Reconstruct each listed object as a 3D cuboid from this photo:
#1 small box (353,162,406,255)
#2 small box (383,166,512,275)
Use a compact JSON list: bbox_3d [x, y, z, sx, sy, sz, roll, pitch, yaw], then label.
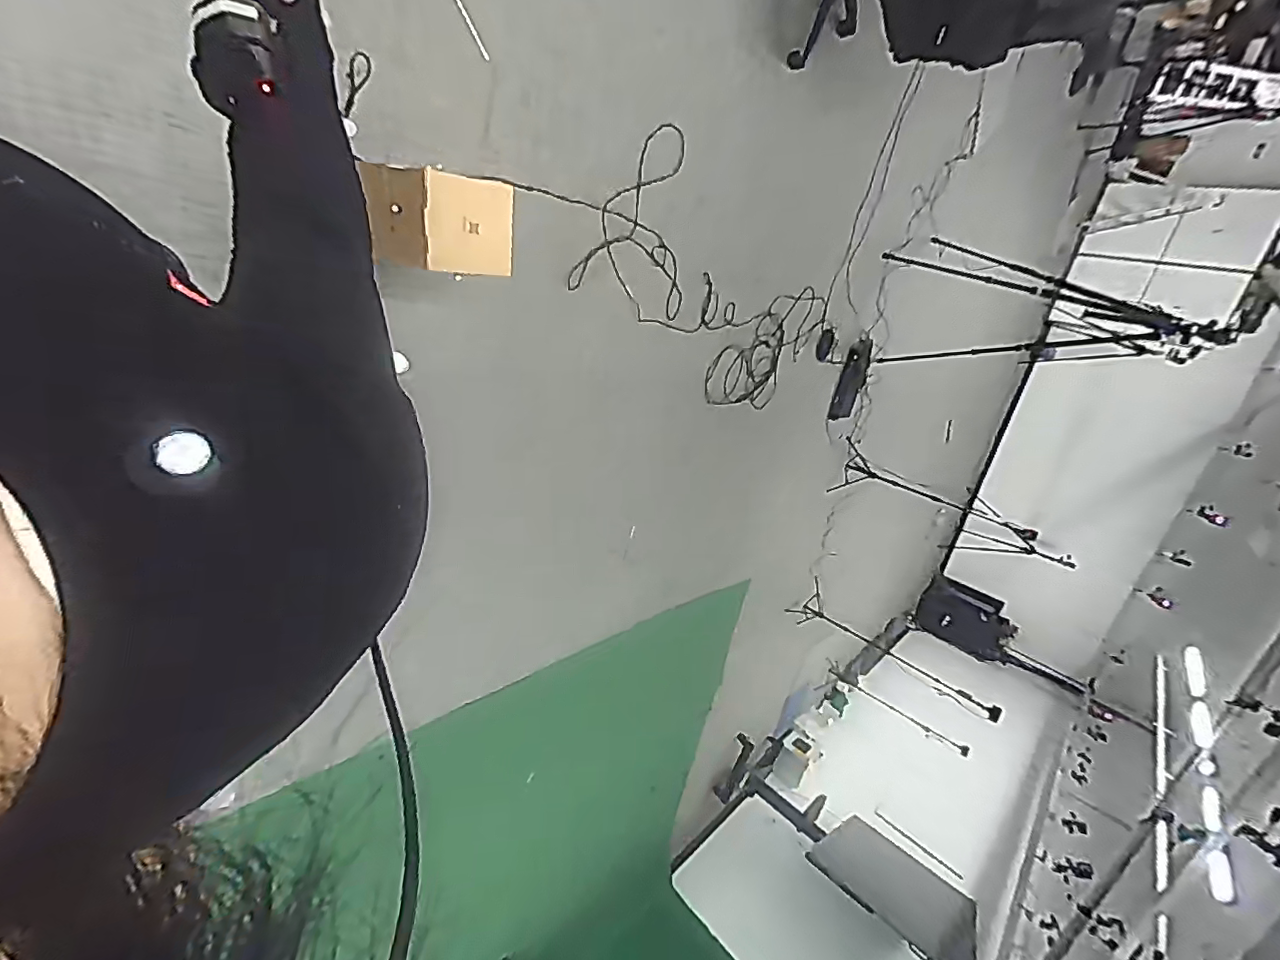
[{"bbox_3d":[-0.479,-0.561,1.138,0.179,0.176,0.168,-15,121,-43],"label":"small box"},{"bbox_3d":[-0.369,-0.496,1.038,0.179,0.176,0.168,-16,123,-42],"label":"small box"}]
